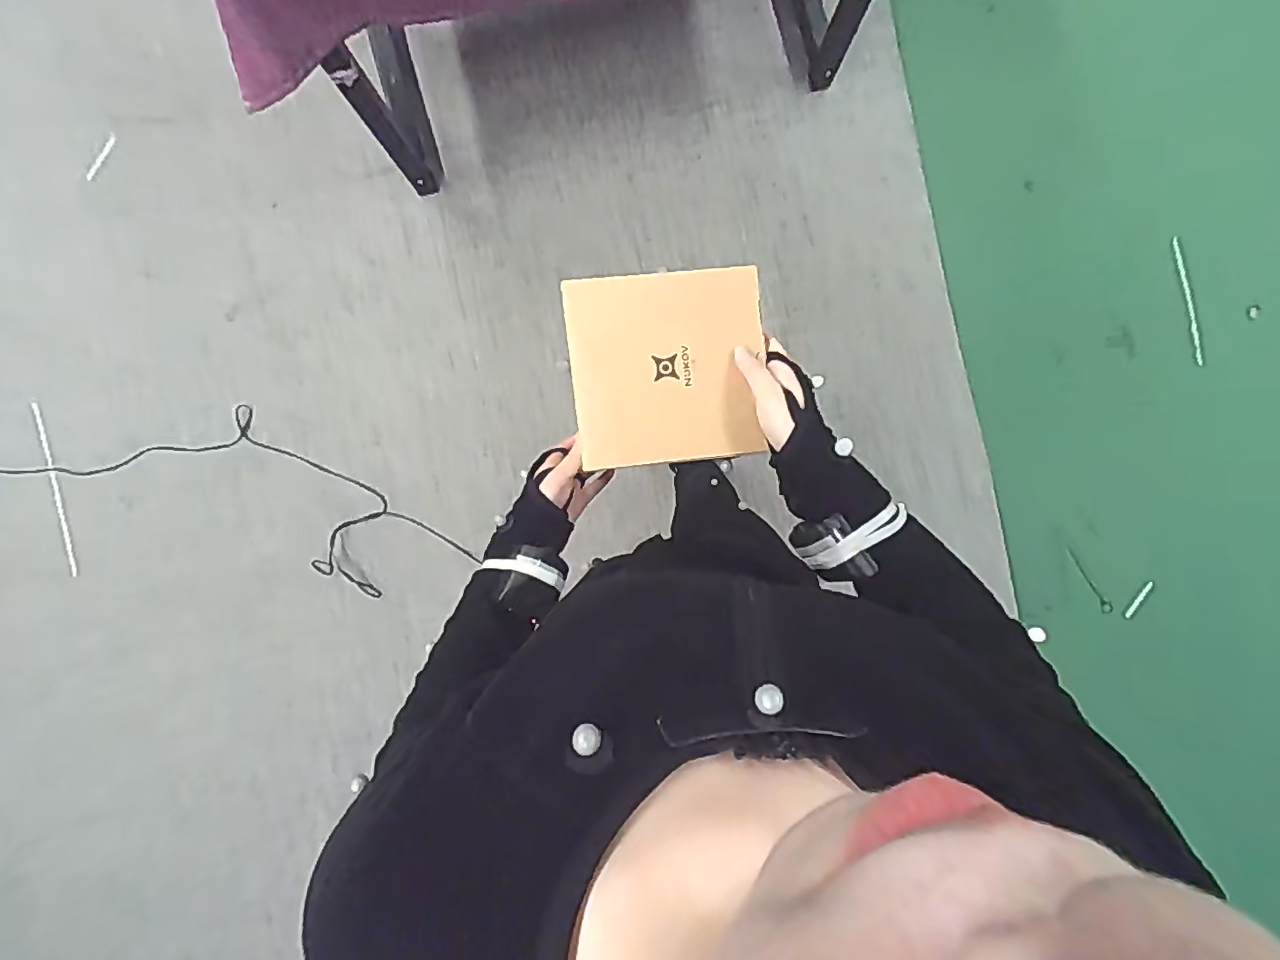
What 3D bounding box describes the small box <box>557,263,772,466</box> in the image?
[{"bbox_3d":[0.016,-0.103,0.549,0.179,0.176,0.168,-7,93,-6],"label":"small box"}]
